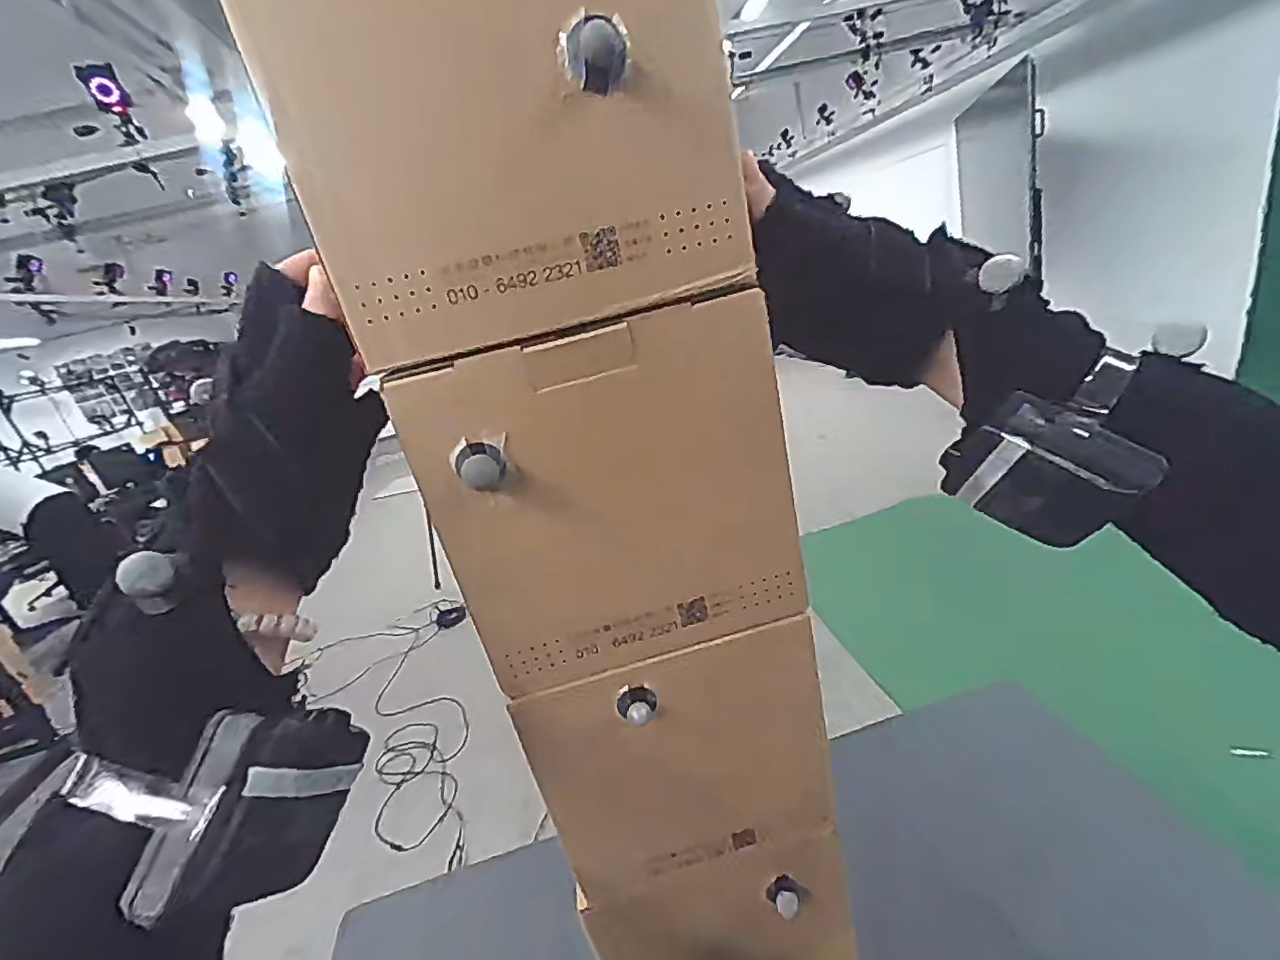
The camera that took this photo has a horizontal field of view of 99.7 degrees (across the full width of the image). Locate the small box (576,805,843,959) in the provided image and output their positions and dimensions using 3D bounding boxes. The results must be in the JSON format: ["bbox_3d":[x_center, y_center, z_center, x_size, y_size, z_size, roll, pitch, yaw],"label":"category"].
[{"bbox_3d":[0.050,0.294,0.446,0.179,0.176,0.168,-16,20,-4],"label":"small box"}]

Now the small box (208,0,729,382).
[{"bbox_3d":[-0.062,-0.157,0.282,0.168,0.176,0.179,-14,20,-2],"label":"small box"}]

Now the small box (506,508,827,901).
[{"bbox_3d":[0.015,0.144,0.391,0.168,0.176,0.179,-16,20,-3],"label":"small box"}]
